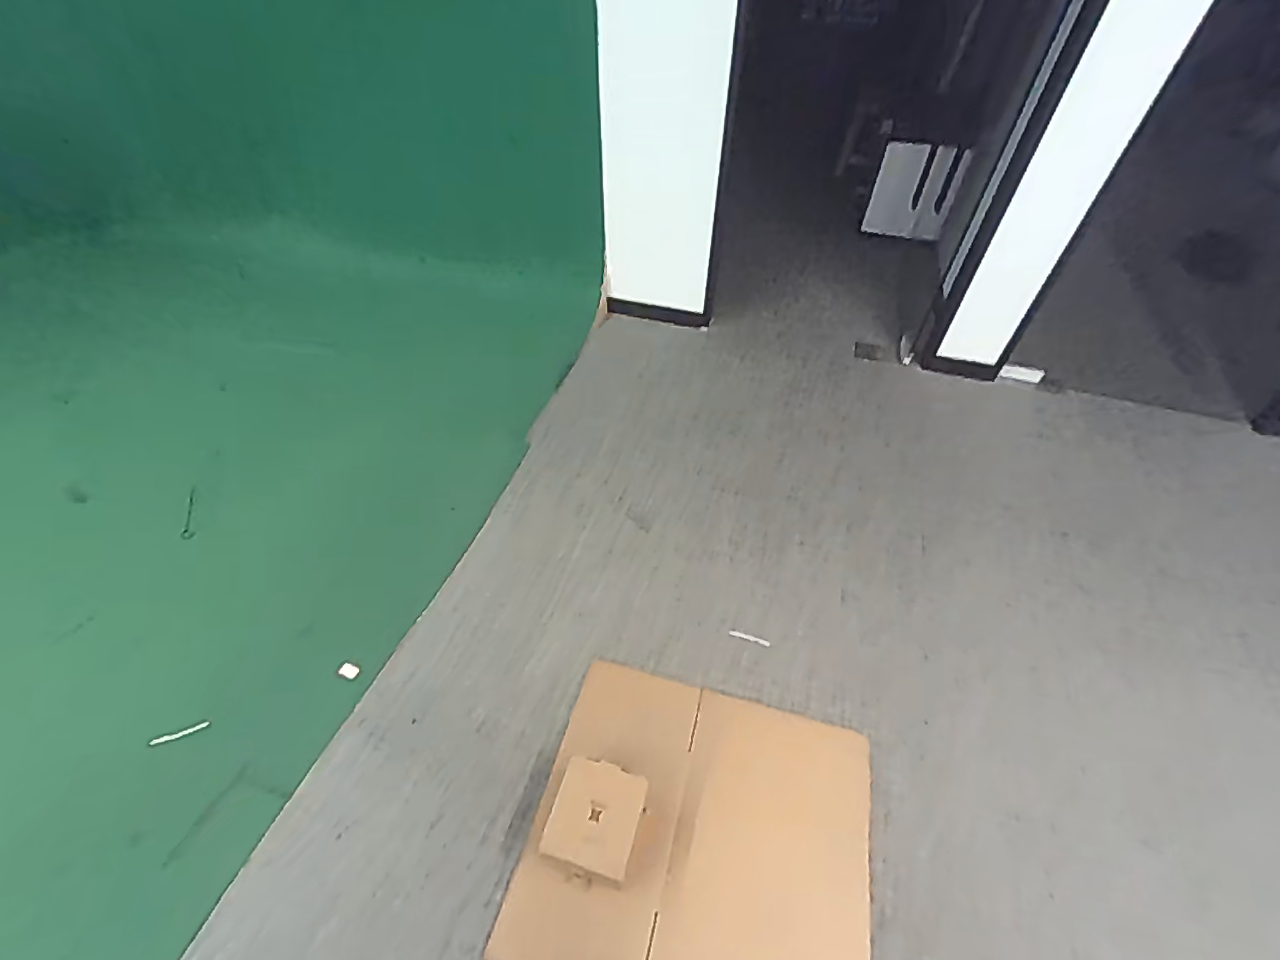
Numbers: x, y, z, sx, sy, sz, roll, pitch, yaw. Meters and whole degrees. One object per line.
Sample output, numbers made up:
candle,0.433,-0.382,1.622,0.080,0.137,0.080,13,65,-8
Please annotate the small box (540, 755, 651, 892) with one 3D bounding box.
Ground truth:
small box,-0.083,0.685,1.077,0.168,0.176,0.179,12,49,11
